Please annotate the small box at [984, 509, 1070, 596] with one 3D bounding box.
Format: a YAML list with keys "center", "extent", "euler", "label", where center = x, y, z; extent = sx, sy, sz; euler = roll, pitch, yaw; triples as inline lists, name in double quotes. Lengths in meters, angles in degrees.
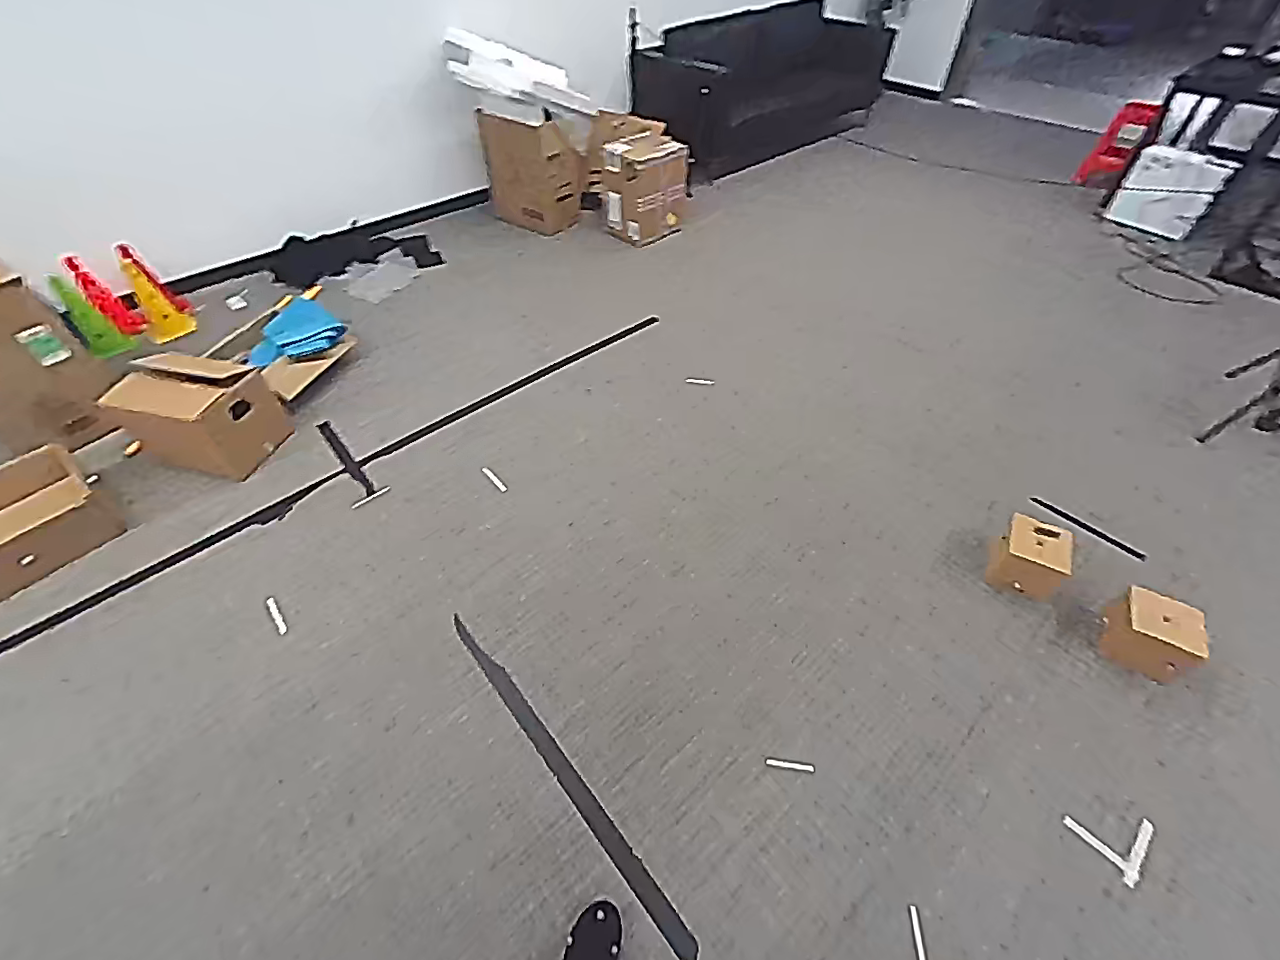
- center: [1.218, 0.229, 1.708]
  extent: [0.168, 0.176, 0.179]
  euler: [21, 52, 19]
  label: "small box"

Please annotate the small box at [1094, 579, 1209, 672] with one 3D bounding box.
- center: [1.441, 0.419, 1.534]
  extent: [0.179, 0.176, 0.168]
  euler: [22, 51, 20]
  label: "small box"
